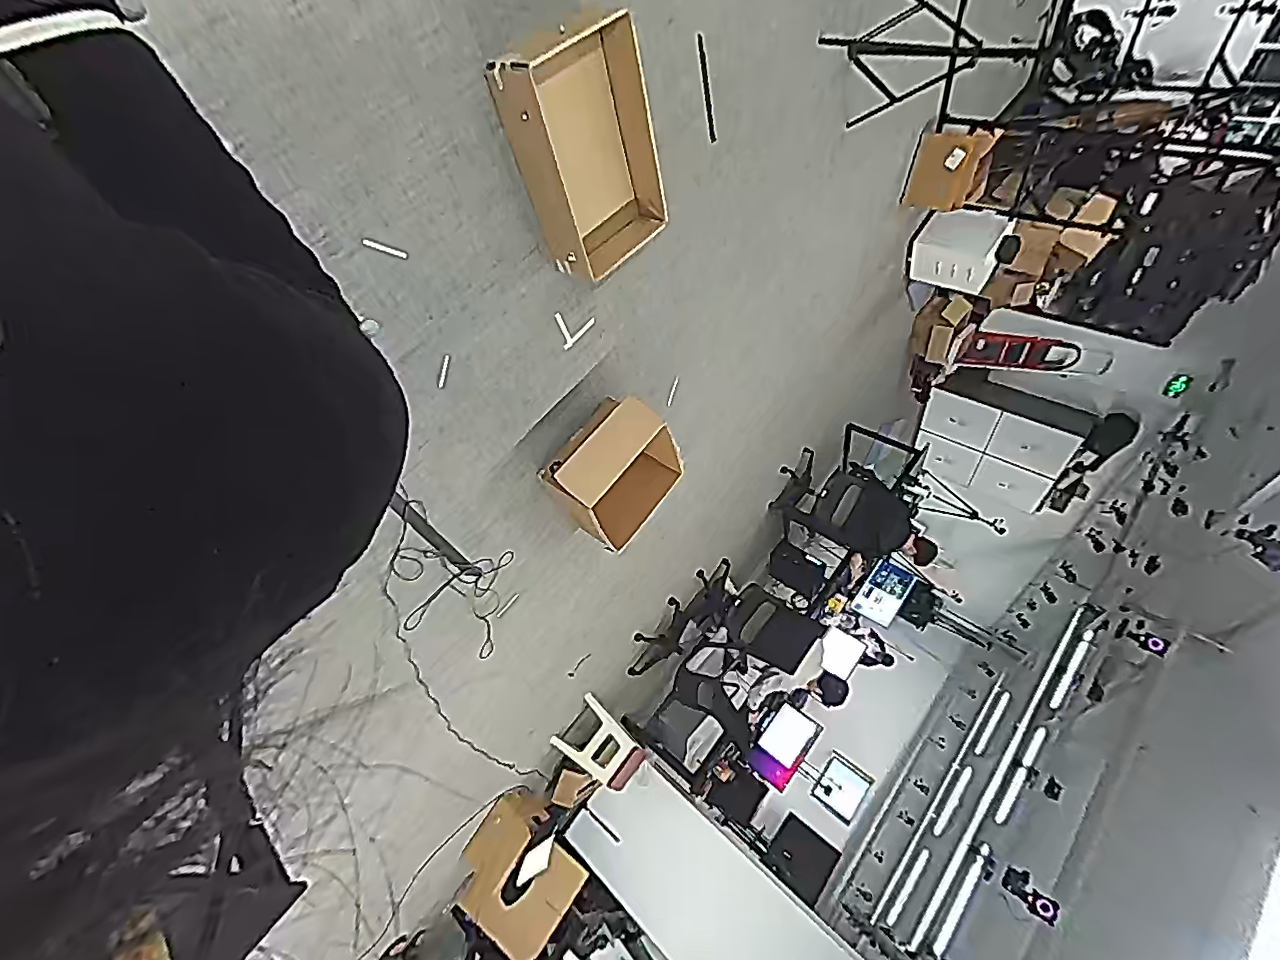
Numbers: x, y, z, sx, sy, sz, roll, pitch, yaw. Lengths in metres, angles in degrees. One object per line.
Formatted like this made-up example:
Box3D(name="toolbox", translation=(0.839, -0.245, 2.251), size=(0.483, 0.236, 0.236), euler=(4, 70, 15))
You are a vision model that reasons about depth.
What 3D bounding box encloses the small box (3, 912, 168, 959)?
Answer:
Box3D(name="small box", translation=(-0.843, 0.776, 0.788), size=(0.179, 0.176, 0.168), euler=(-52, 148, -13))
